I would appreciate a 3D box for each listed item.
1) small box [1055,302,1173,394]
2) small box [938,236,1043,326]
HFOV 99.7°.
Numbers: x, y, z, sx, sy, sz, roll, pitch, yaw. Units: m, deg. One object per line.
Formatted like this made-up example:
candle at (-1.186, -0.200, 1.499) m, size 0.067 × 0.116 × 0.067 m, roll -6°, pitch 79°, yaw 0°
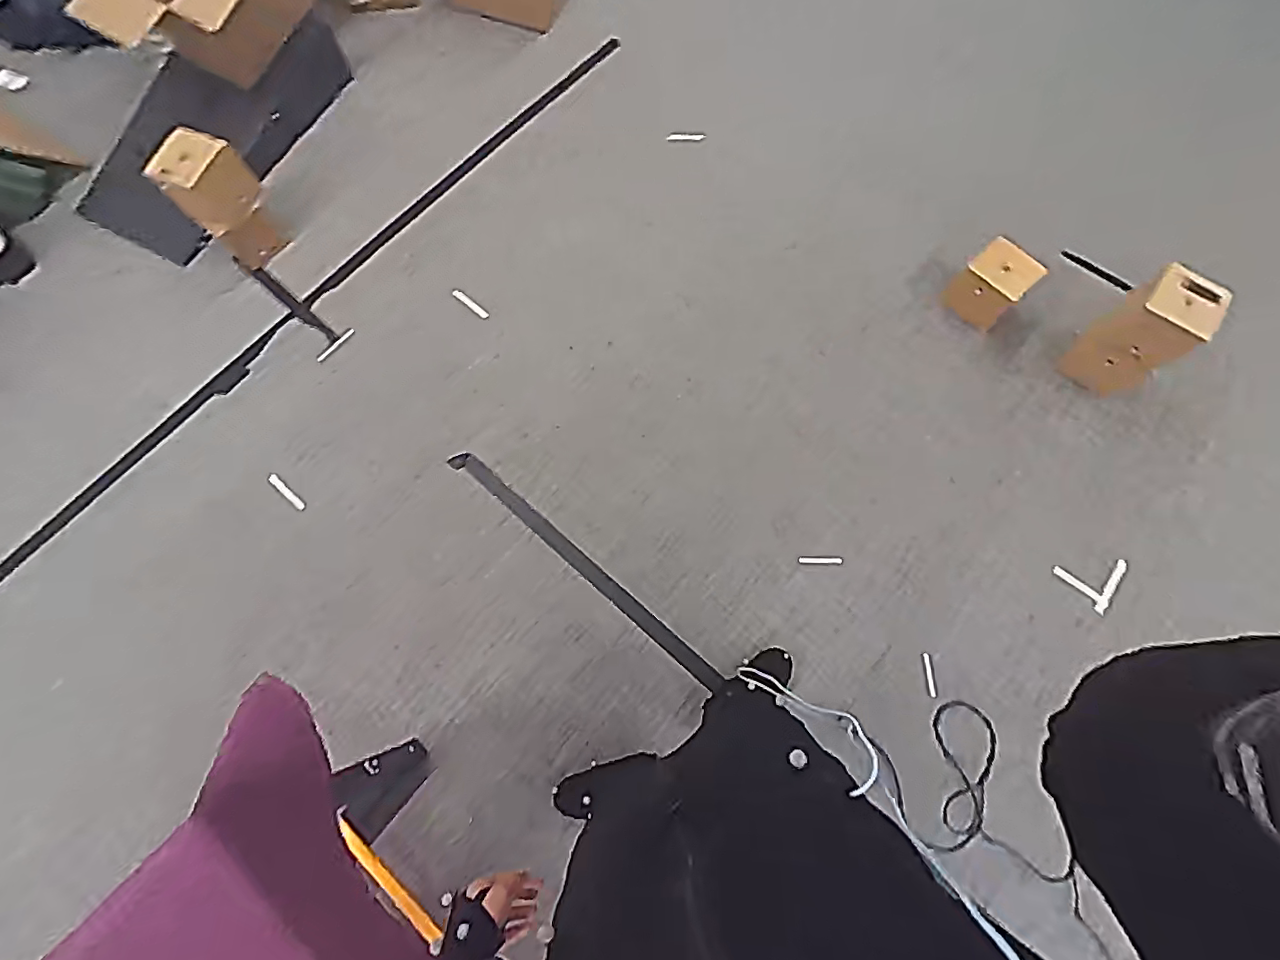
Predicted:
small box at (1.405, -0.386, 1.616) m, size 0.179 × 0.176 × 0.168 m, roll 37°, pitch 77°, yaw 10°
small box at (1.086, -0.610, 1.690) m, size 0.168 × 0.176 × 0.179 m, roll -42°, pitch 76°, yaw -11°
